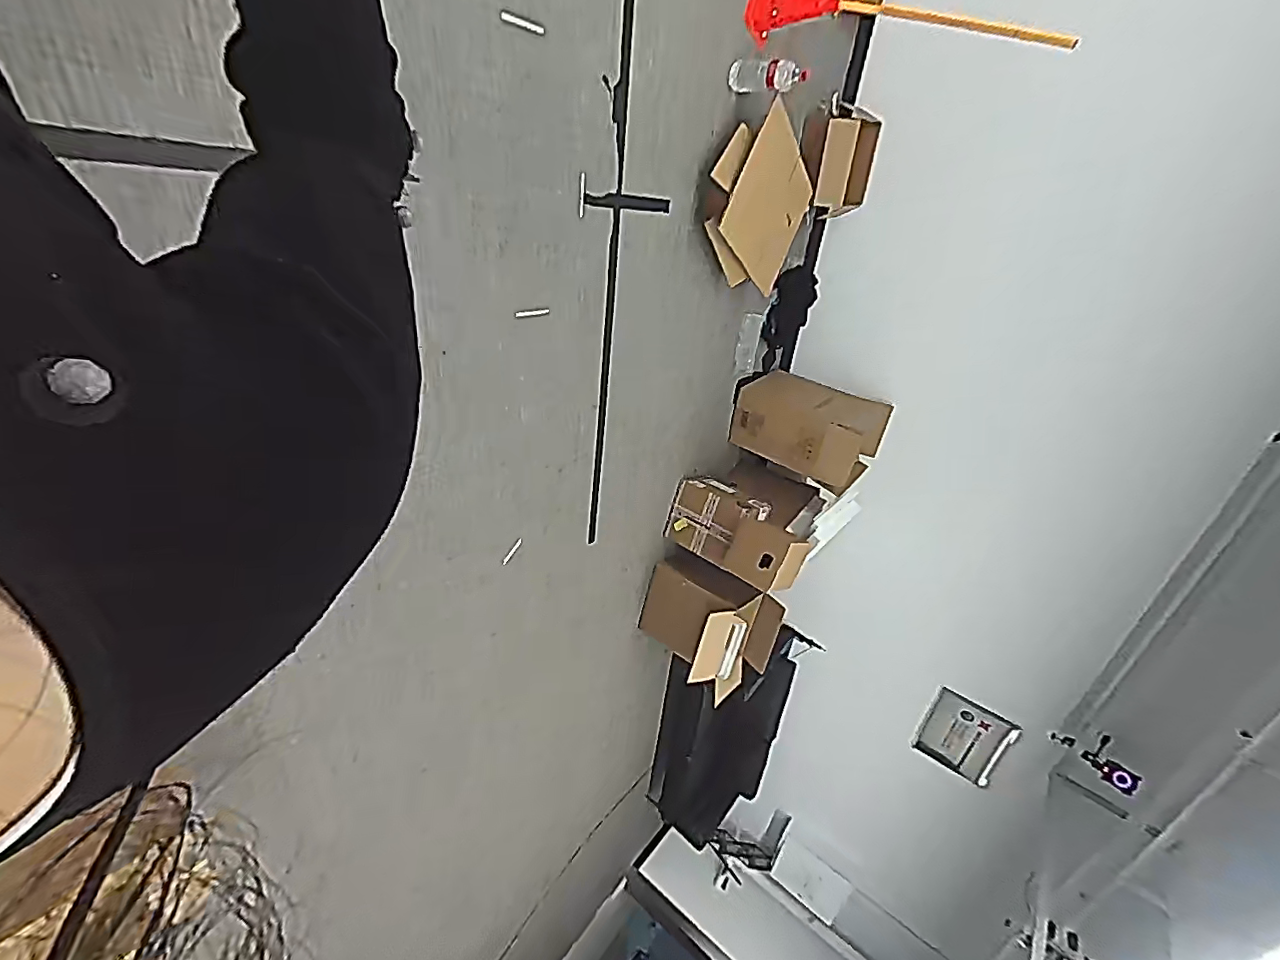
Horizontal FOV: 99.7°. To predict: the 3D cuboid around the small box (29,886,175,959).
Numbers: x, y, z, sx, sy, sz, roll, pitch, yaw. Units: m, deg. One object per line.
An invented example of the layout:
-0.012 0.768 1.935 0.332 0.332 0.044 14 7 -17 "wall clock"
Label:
-1.169 1.052 1.181 0.179 0.176 0.168 -28 132 -44 "small box"
